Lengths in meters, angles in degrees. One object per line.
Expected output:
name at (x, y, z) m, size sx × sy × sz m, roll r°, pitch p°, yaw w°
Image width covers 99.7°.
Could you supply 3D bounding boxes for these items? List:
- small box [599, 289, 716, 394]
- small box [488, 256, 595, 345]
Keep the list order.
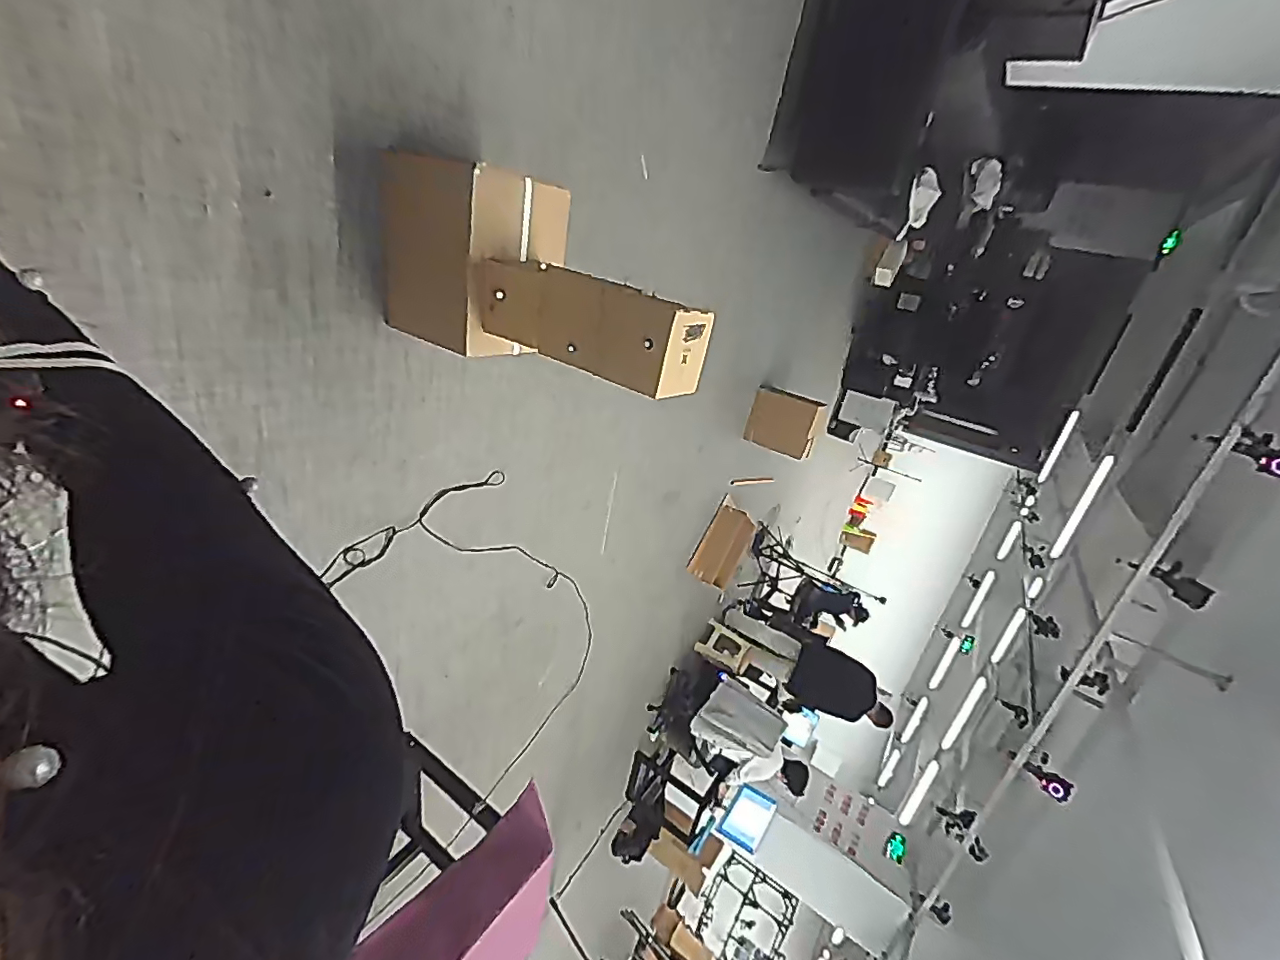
small box at (0.033, -0.295, 1.140) m, size 0.168 × 0.176 × 0.179 m, roll -21°, pitch 131°, yaw -53°
small box at (-0.234, -0.428, 1.281) m, size 0.179 × 0.176 × 0.168 m, roll -25°, pitch 133°, yaw -50°
